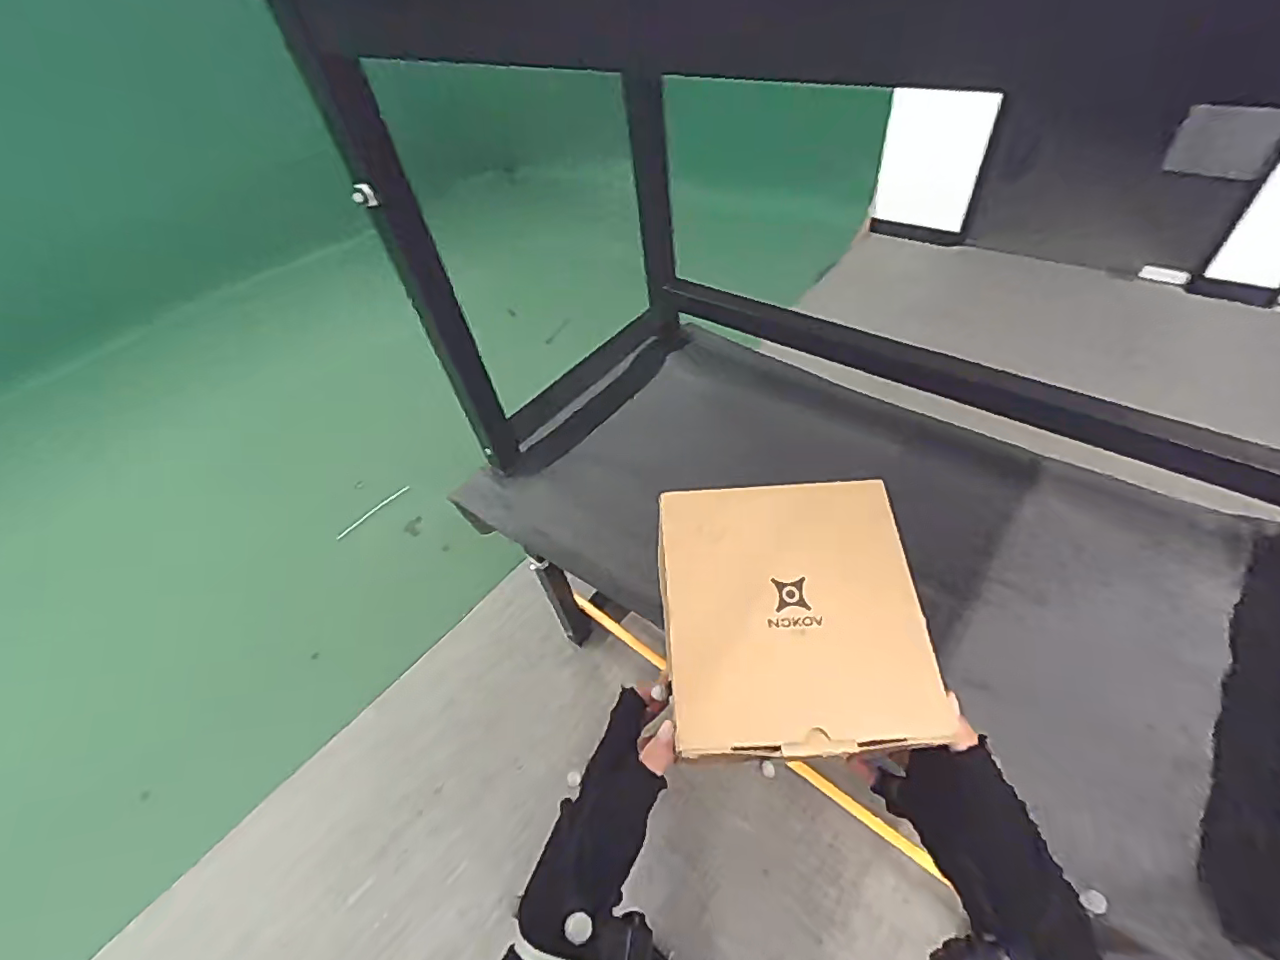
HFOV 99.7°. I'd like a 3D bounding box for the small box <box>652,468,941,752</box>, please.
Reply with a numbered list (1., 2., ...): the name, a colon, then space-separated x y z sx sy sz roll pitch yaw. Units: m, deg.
1. small box: 0.095 0.110 0.427 0.168 0.176 0.179 -4 61 1
